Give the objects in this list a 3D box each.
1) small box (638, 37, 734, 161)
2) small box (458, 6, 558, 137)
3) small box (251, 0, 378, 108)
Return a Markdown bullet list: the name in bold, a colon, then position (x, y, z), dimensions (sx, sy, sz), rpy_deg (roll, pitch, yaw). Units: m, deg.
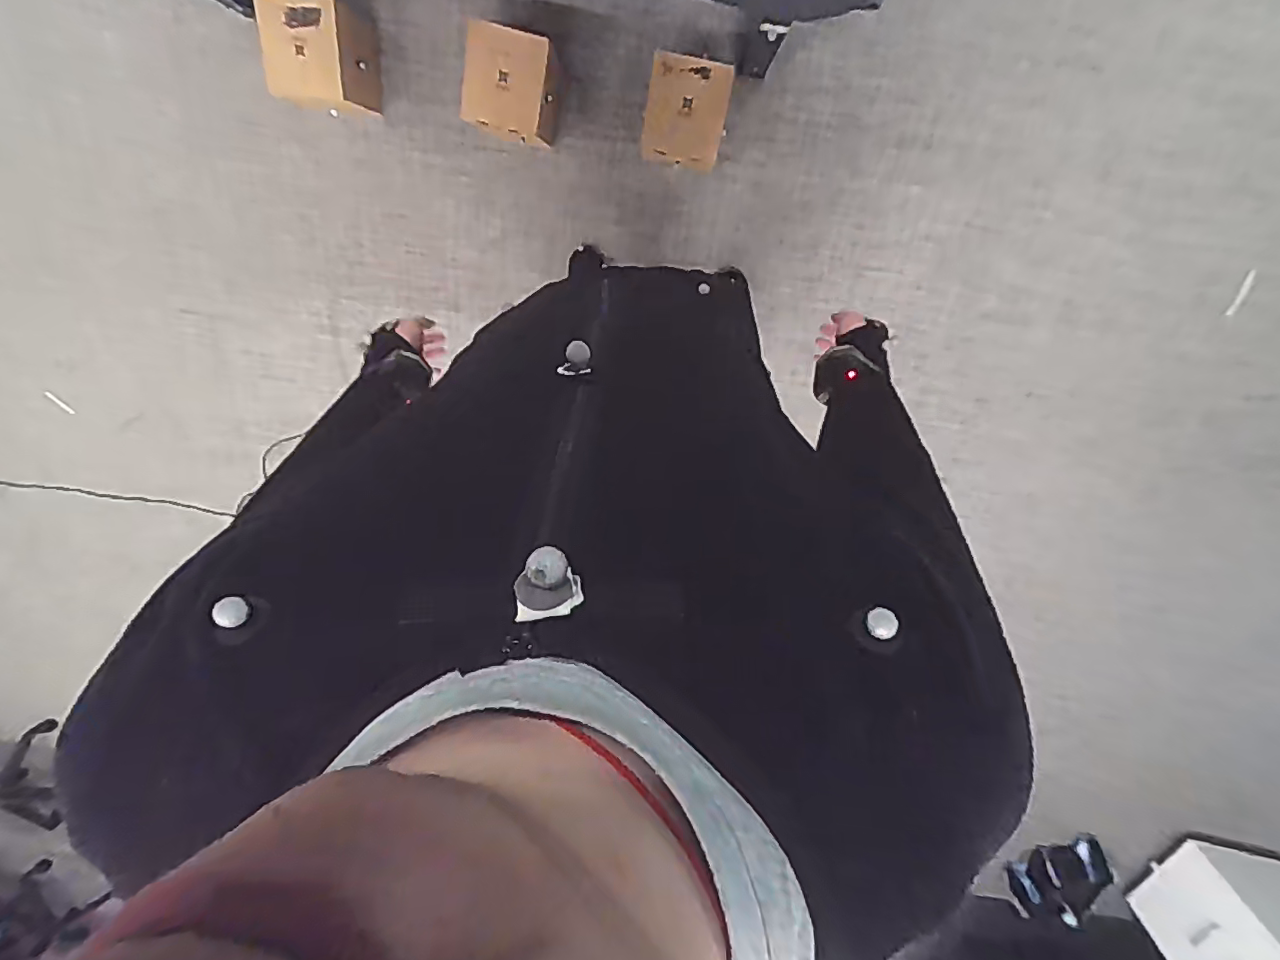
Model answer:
- **small box**: position (0.098, -0.809, 1.167), dimensions (0.168, 0.176, 0.179), rpy_deg (11, 115, -1)
- **small box**: position (-0.278, -0.865, 1.165), dimensions (0.168, 0.176, 0.179), rpy_deg (12, 115, -3)
- **small box**: position (-0.687, -0.926, 1.159), dimensions (0.168, 0.176, 0.179), rpy_deg (7, 117, 1)
